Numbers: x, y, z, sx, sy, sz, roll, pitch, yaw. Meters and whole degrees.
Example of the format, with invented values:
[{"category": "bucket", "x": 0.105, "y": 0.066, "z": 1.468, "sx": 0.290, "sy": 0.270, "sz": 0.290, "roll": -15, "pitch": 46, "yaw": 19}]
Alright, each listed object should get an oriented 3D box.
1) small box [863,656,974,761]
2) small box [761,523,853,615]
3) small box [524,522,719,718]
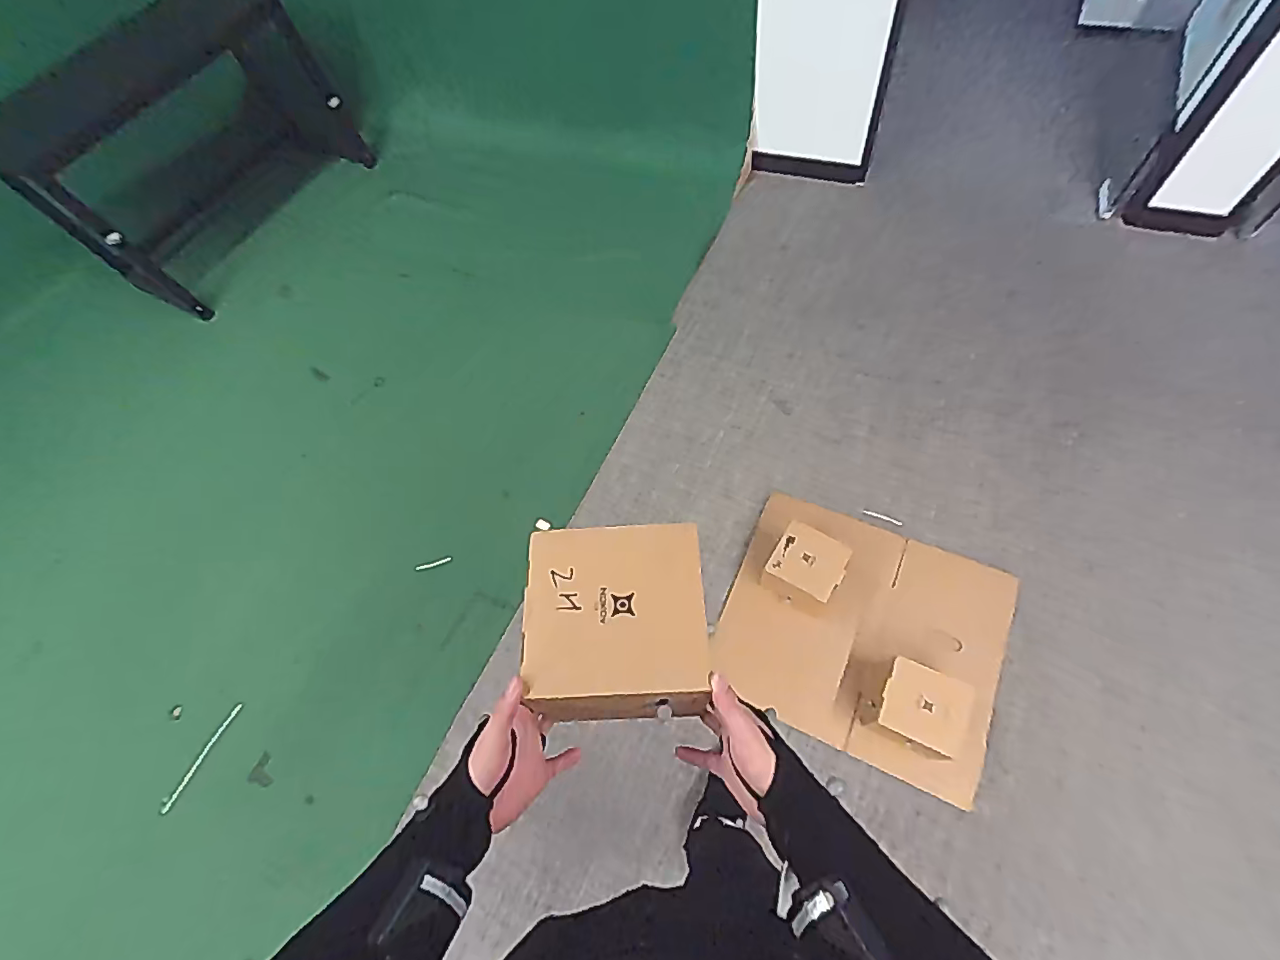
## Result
[{"category": "small box", "x": 0.651, "y": 0.545, "z": 1.282, "sx": 0.179, "sy": 0.176, "sz": 0.168, "roll": 22, "pitch": 69, "yaw": 19}, {"category": "small box", "x": 0.444, "y": 0.248, "z": 1.464, "sx": 0.179, "sy": 0.176, "sz": 0.168, "roll": 29, "pitch": 71, "yaw": 21}, {"category": "small box", "x": -0.016, "y": 0.157, "z": 0.587, "sx": 0.179, "sy": 0.176, "sz": 0.168, "roll": -3, "pitch": 59, "yaw": 2}]
